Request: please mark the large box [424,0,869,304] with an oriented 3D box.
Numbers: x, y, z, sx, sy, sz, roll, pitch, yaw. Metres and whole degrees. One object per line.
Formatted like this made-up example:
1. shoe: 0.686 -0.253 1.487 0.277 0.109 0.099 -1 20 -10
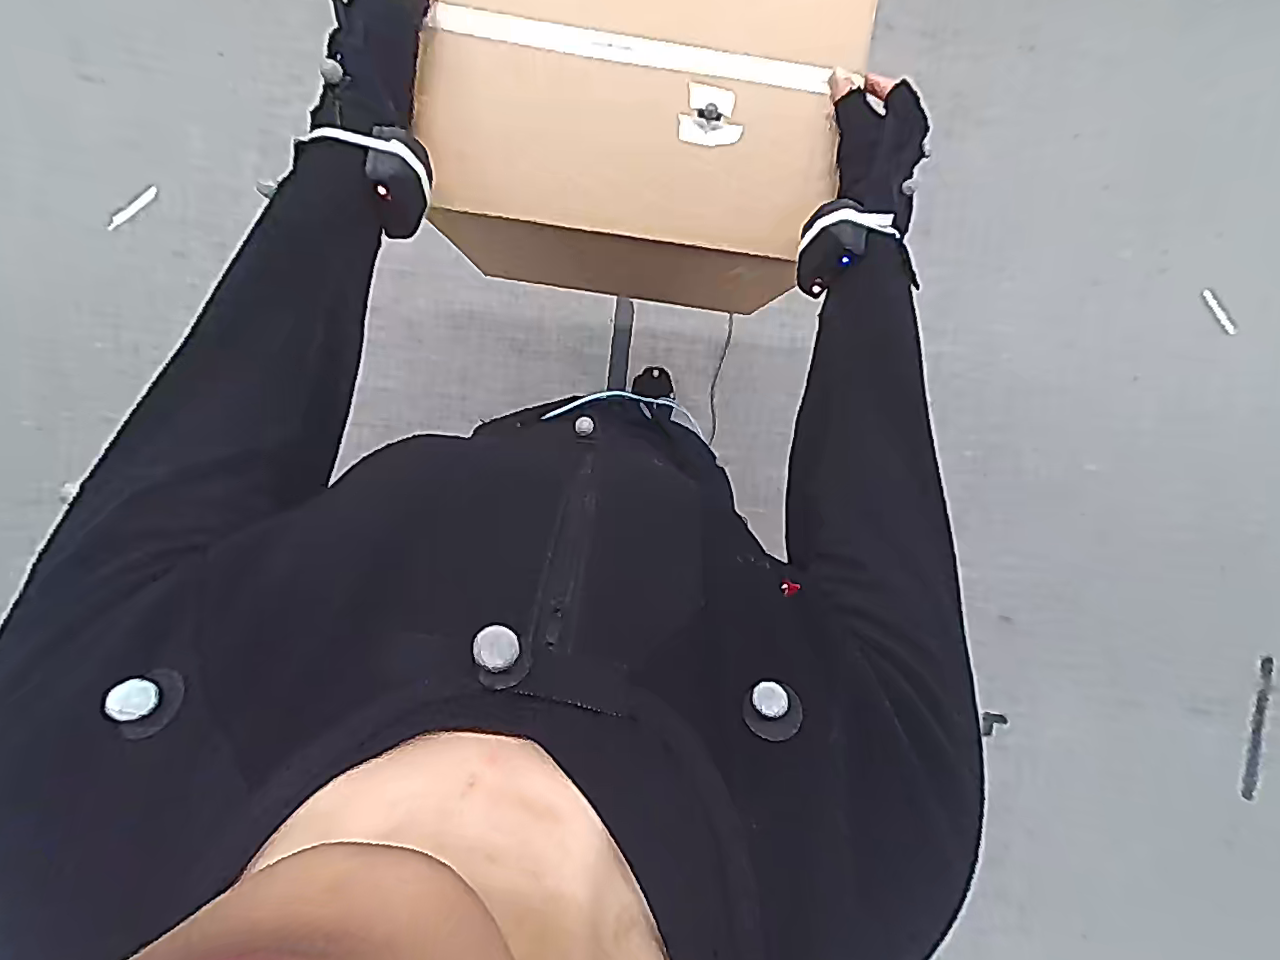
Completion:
1. large box: -0.002 -0.415 0.646 0.408 0.320 0.320 6 98 -4
